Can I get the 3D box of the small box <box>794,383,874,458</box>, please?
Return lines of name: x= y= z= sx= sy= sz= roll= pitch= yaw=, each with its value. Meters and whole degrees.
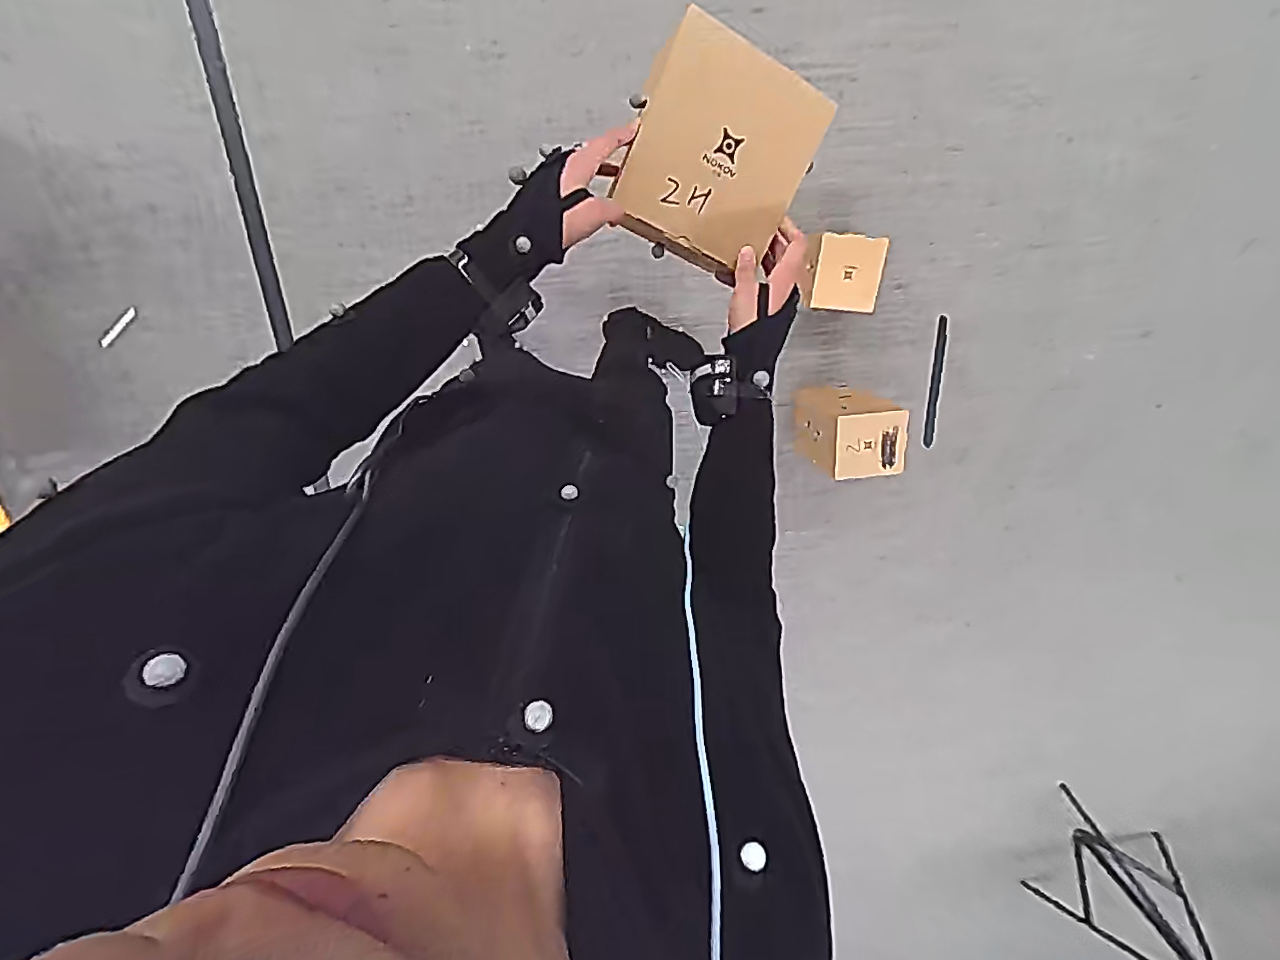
small box: x=0.548 y=-0.177 z=1.550 sx=0.168 sy=0.176 sz=0.179 roll=-5 pitch=112 yaw=-1

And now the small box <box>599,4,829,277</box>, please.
small box: x=0.062 y=-0.344 z=0.588 sx=0.168 sy=0.176 sz=0.179 roll=21 pitch=109 yaw=-17

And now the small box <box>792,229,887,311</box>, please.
small box: x=0.509 y=-0.544 z=1.407 sx=0.168 sy=0.176 sz=0.179 roll=4 pitch=110 yaw=-5
